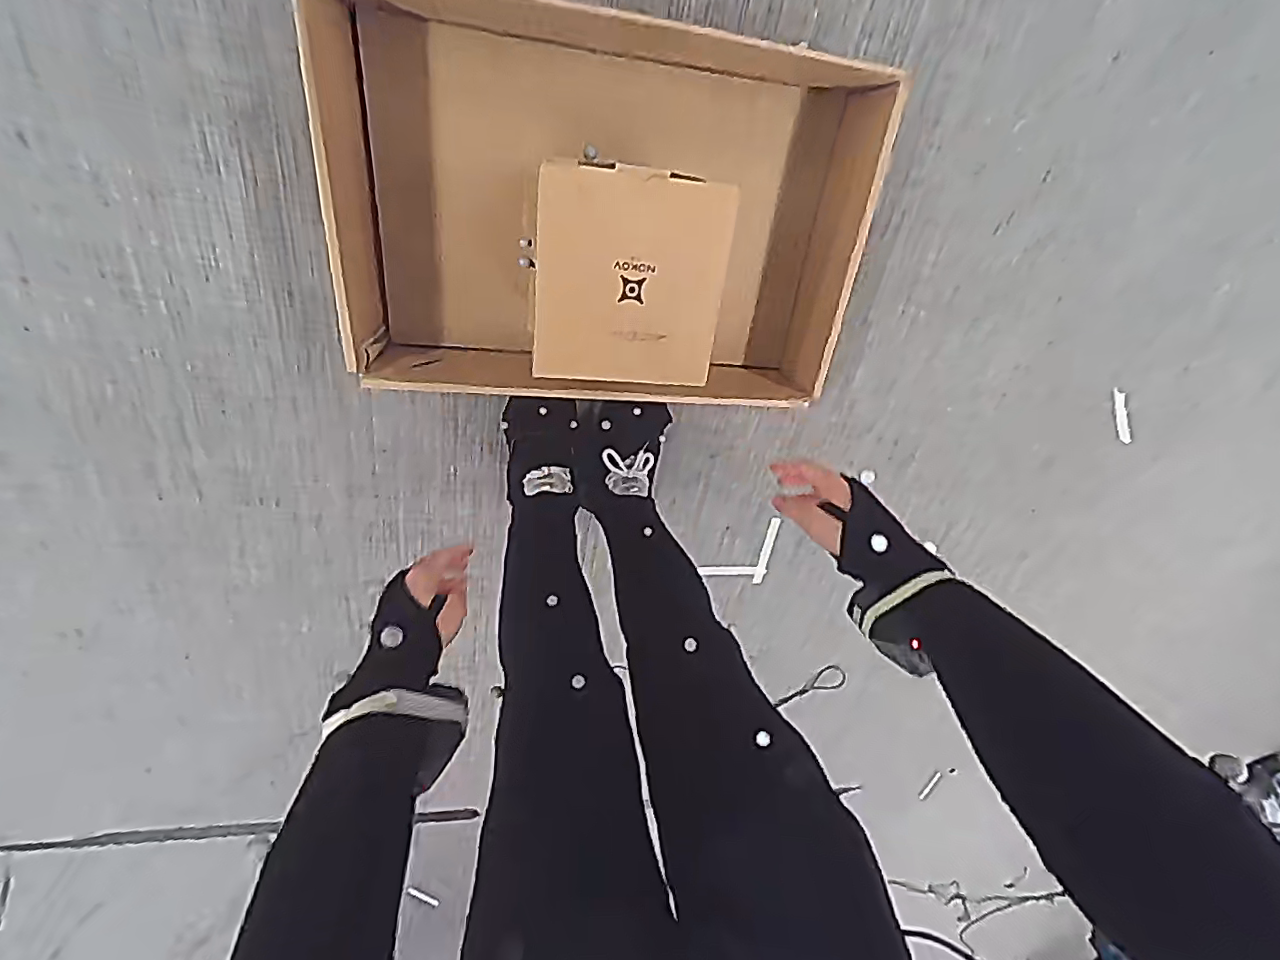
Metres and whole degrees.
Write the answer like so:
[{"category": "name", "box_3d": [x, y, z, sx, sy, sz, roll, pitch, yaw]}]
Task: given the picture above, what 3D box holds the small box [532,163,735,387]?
[{"category": "small box", "box_3d": [-0.022, -0.207, 0.543, 0.168, 0.176, 0.179, 1, 120, -11]}]
